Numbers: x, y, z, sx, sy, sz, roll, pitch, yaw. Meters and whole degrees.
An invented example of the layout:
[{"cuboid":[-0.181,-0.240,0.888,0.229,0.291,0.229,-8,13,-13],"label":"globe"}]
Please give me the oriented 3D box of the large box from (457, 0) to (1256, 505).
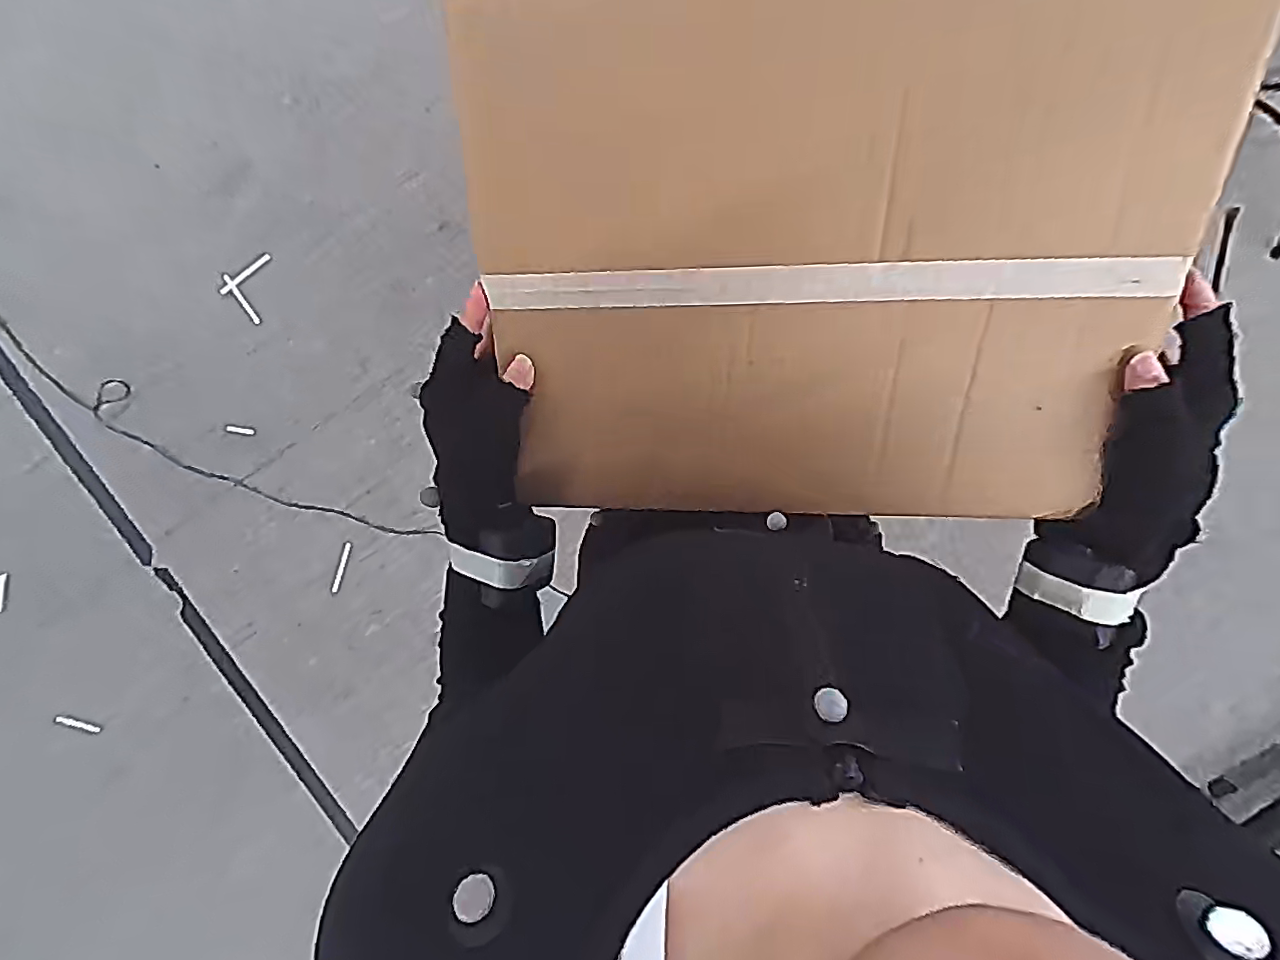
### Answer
[{"cuboid":[0.115,-0.186,0.466,0.408,0.320,0.320,1,117,6],"label":"large box"}]
